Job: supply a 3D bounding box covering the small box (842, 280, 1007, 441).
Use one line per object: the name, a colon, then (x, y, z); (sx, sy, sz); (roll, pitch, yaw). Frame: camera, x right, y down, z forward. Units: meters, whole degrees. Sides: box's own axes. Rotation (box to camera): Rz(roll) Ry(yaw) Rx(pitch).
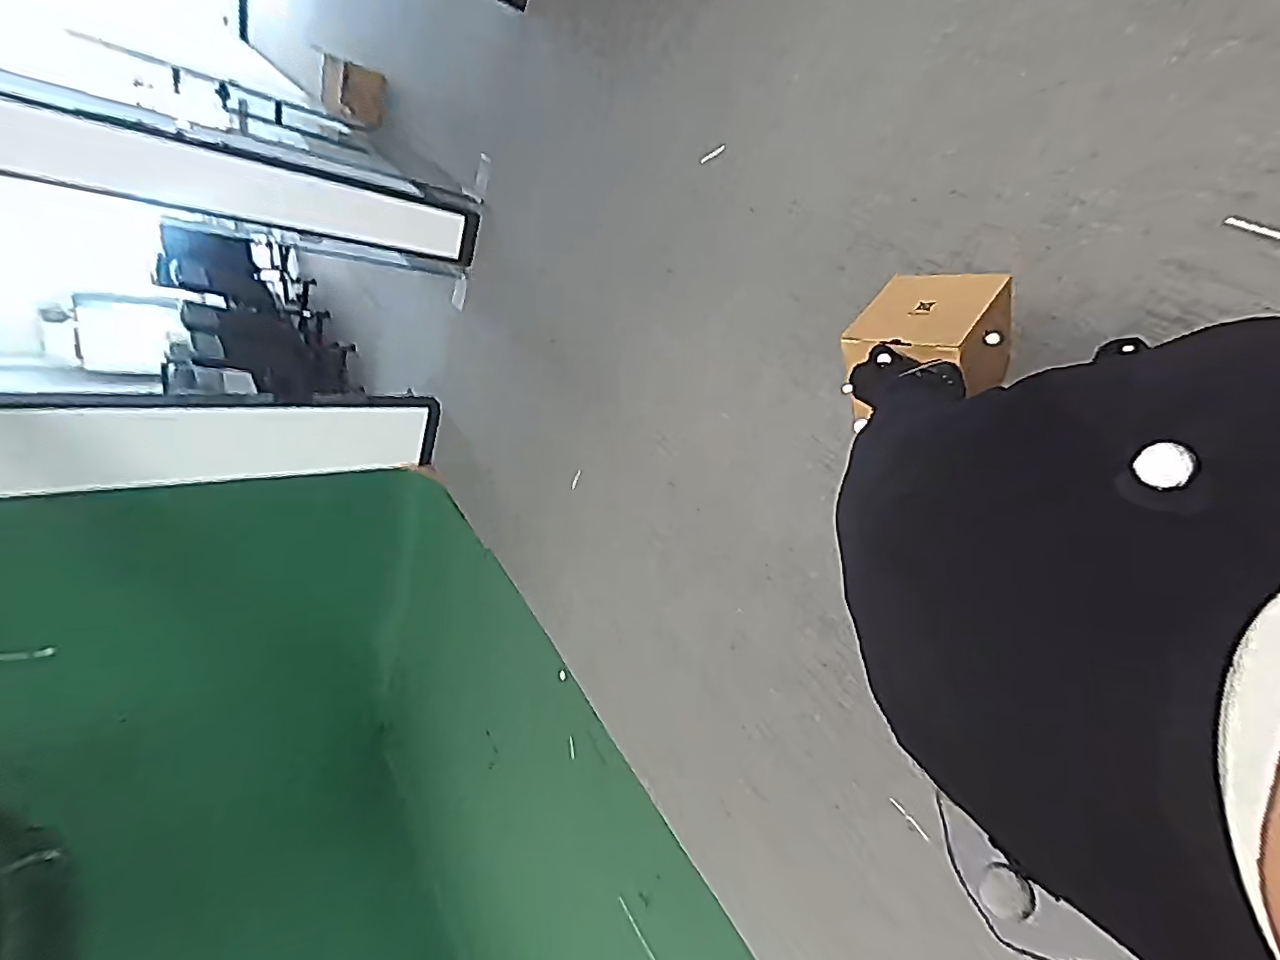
small box: (0.438, -0.187, 0.833); (0.168, 0.179, 0.176); (19, 147, 45)
